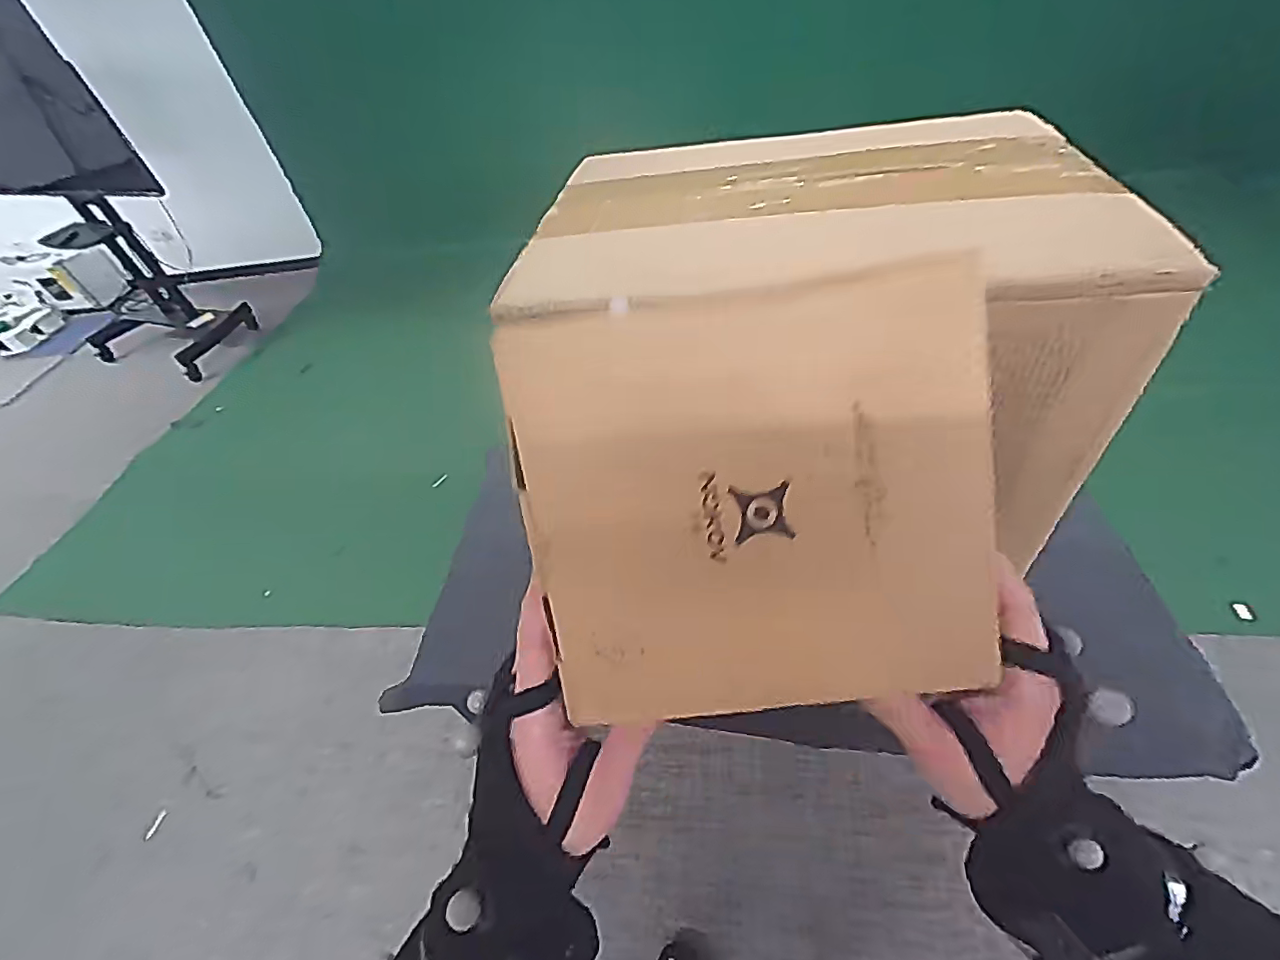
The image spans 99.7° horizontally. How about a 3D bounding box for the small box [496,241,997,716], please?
[{"bbox_3d":[0.047,-0.008,0.282,0.179,0.168,0.176,-8,13,3],"label":"small box"}]
